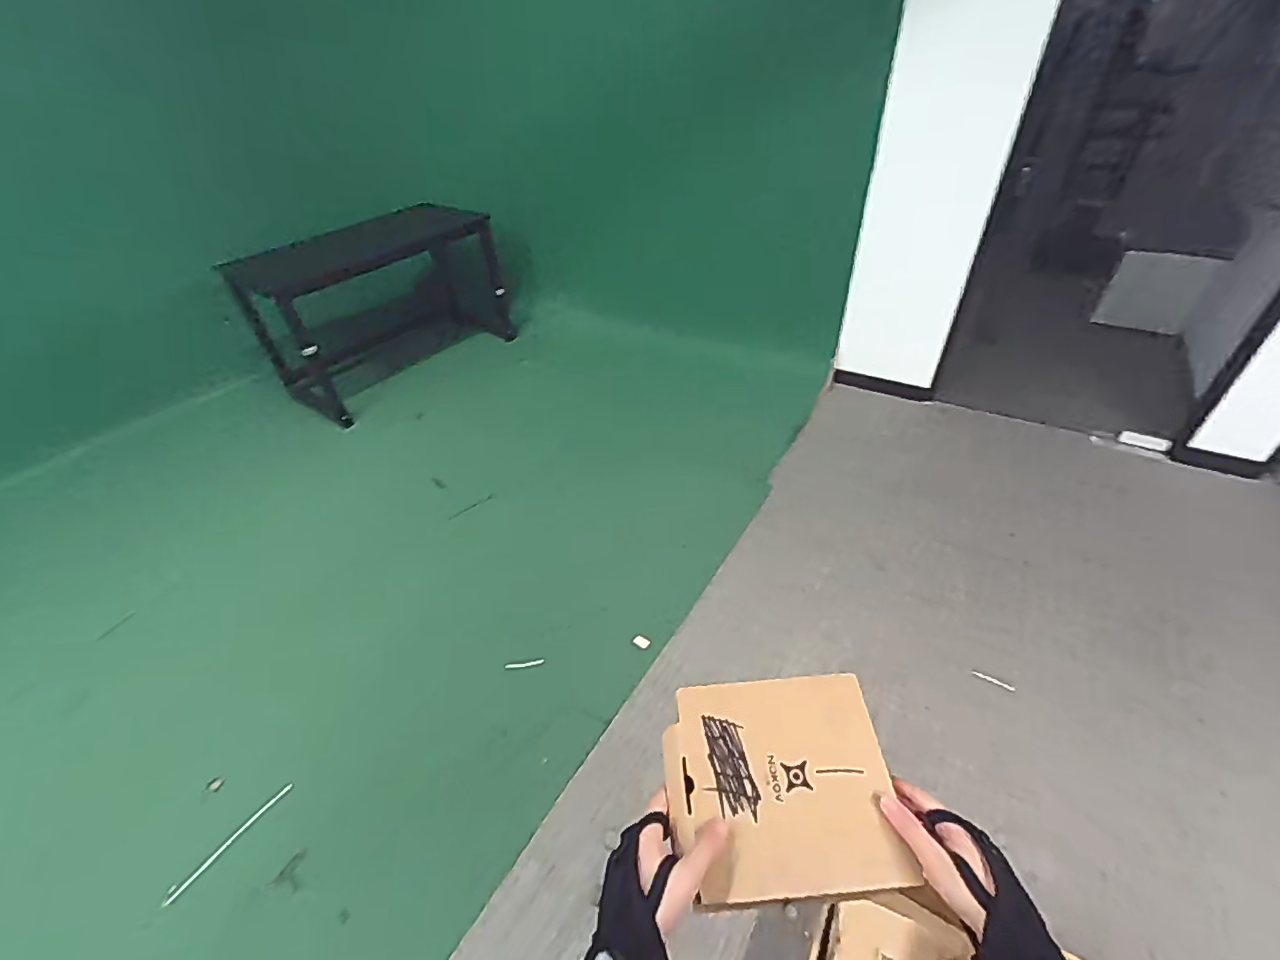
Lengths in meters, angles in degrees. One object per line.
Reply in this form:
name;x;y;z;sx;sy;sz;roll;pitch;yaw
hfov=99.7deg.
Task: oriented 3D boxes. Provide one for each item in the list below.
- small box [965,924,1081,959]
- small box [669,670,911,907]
small box;0.625;0.854;0.848;0.168;0.176;0.179;12;44;20
small box;0.123;0.302;0.526;0.179;0.176;0.168;-4;50;-1
